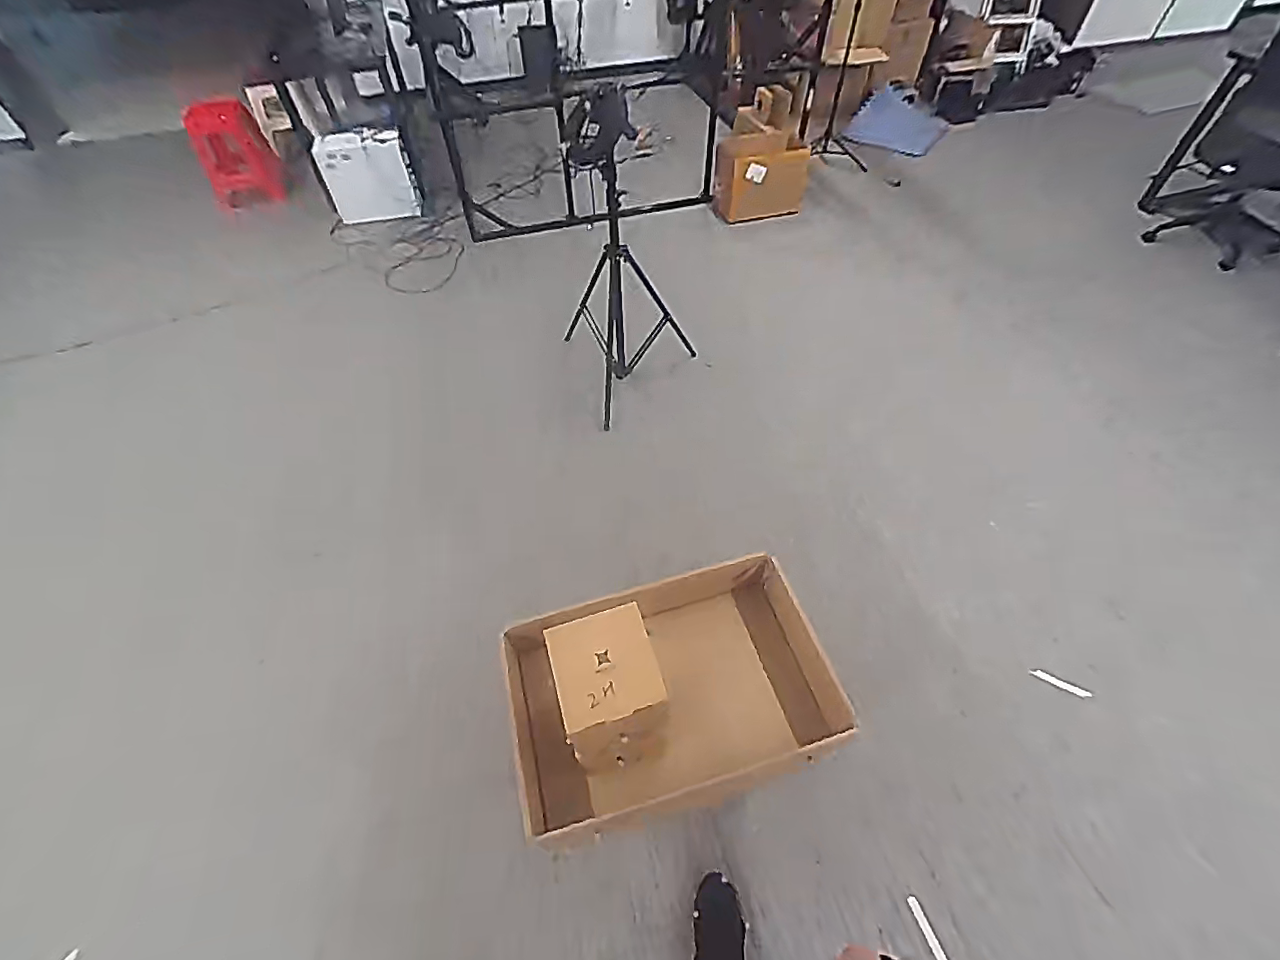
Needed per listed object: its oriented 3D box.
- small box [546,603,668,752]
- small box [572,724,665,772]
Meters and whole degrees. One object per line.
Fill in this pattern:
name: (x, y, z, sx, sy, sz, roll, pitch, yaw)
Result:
small box: (-0.057, 0.345, 0.939, 0.168, 0.176, 0.179, -15, 54, -9)
small box: (-0.056, 0.448, 1.068, 0.168, 0.176, 0.179, -15, 54, -9)
